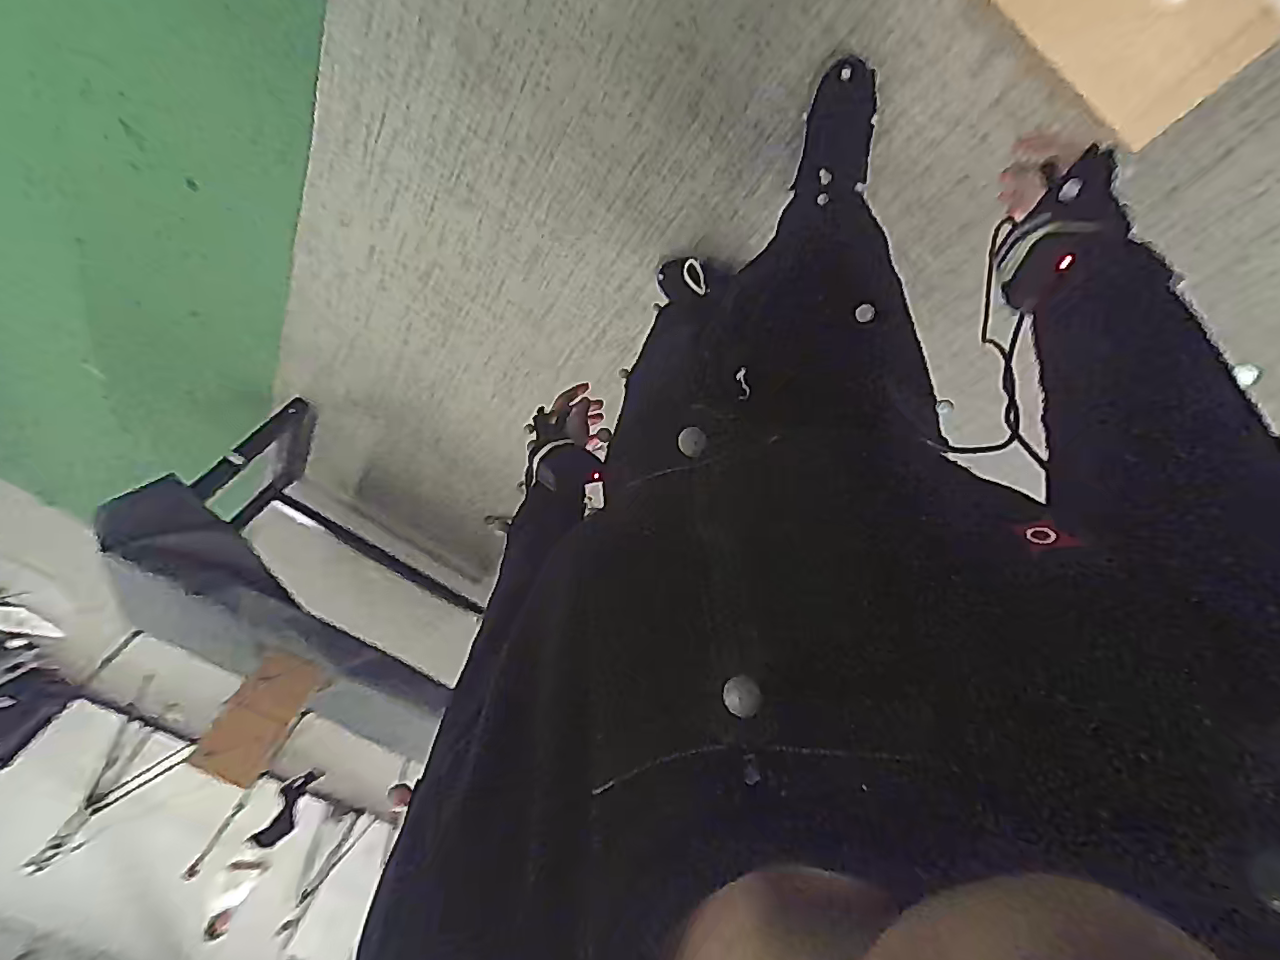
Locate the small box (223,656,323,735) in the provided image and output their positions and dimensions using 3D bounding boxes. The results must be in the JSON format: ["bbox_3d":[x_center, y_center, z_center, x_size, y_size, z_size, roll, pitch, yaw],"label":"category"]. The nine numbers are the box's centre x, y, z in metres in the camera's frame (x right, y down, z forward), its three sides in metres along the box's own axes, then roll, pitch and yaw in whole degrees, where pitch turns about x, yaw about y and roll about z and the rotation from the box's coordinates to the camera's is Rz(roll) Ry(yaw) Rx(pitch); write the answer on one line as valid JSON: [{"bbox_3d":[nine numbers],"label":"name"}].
[{"bbox_3d":[-1.076,0.634,1.587,0.179,0.176,0.168,34,136,-14],"label":"small box"}]

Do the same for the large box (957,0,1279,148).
[{"bbox_3d":[0.574,-0.697,0.639,0.408,0.320,0.320,32,135,-13],"label":"large box"}]

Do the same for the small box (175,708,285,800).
[{"bbox_3d":[-1.116,0.750,1.480,0.179,0.176,0.168,37,135,-14],"label":"small box"}]
